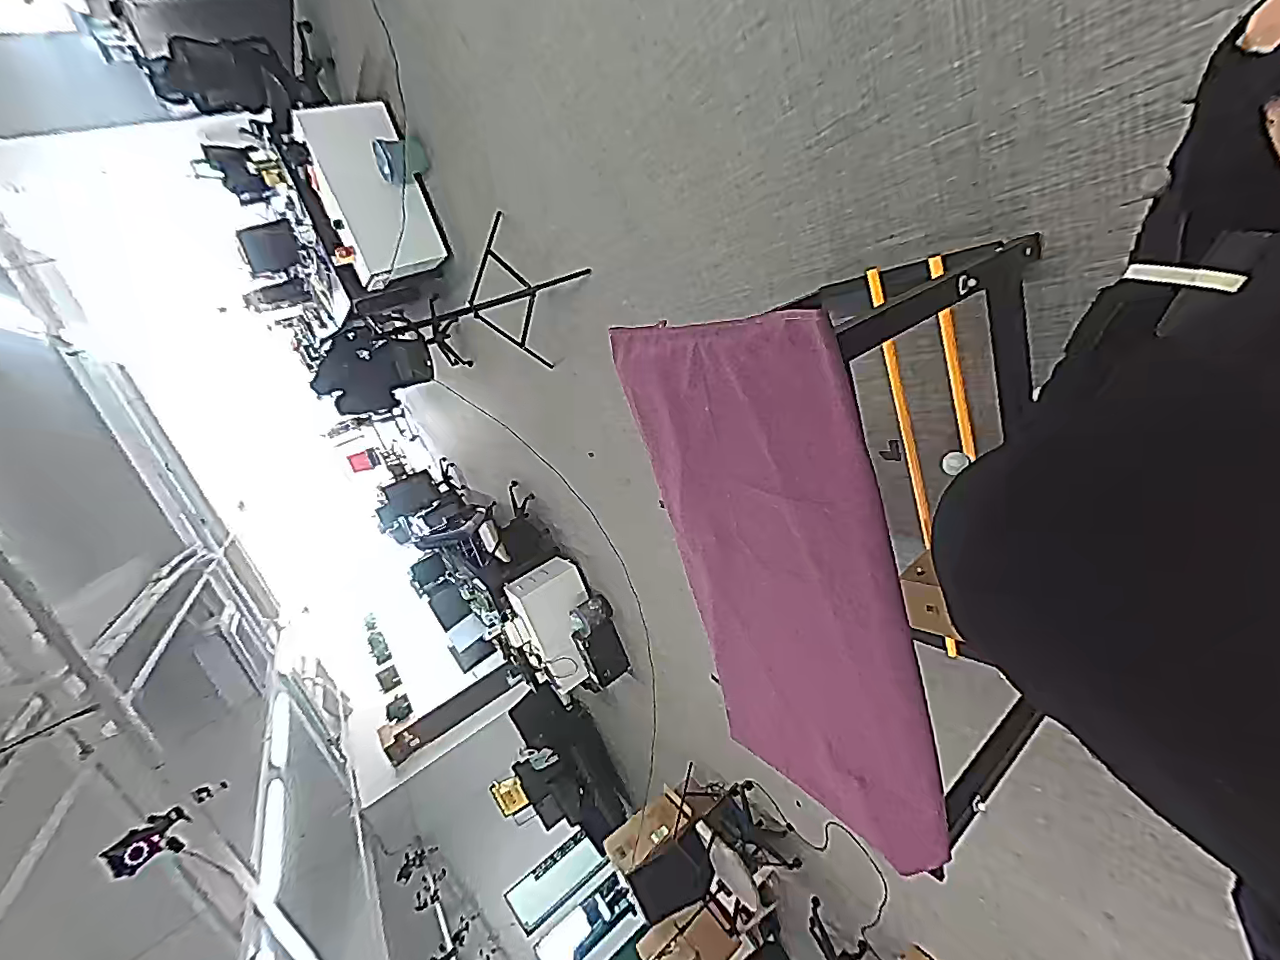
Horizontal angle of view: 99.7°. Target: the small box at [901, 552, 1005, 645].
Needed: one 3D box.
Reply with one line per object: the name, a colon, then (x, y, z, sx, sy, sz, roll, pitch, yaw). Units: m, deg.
small box: (0.851, 0.312, 1.471, 0.179, 0.176, 0.168, 3, 118, 57)
